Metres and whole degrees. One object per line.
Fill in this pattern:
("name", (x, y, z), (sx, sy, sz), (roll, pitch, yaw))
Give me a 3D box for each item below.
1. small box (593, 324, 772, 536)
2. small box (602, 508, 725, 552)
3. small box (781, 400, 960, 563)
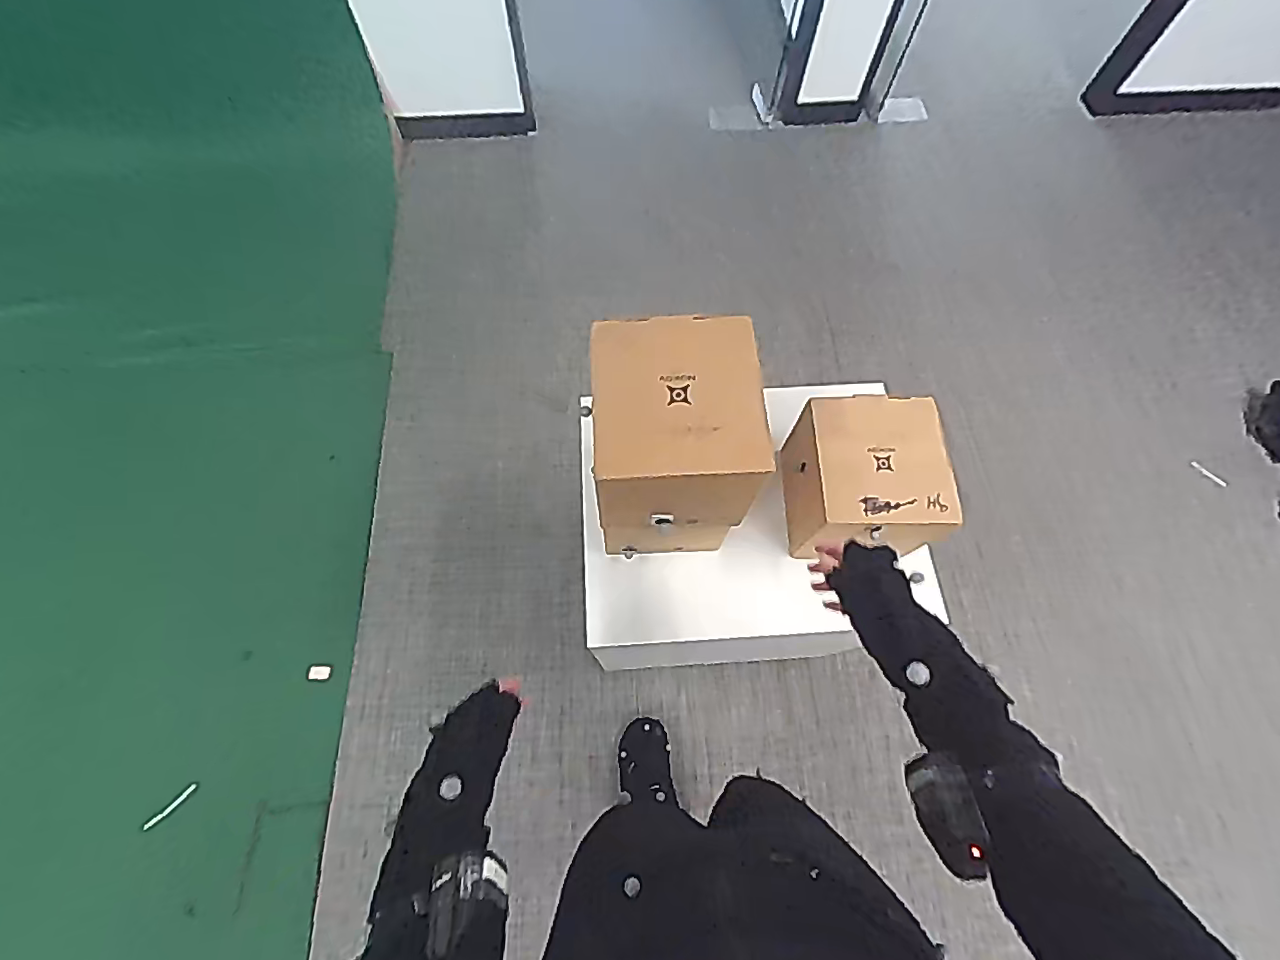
("small box", (0.035, -0.048, 0.598), (0.168, 0.176, 0.179), (-3, 69, -1))
("small box", (0.032, -0.001, 0.753), (0.168, 0.176, 0.179), (-2, 67, -2))
("small box", (0.301, 0.007, 0.752), (0.168, 0.176, 0.179), (0, 67, 0))
